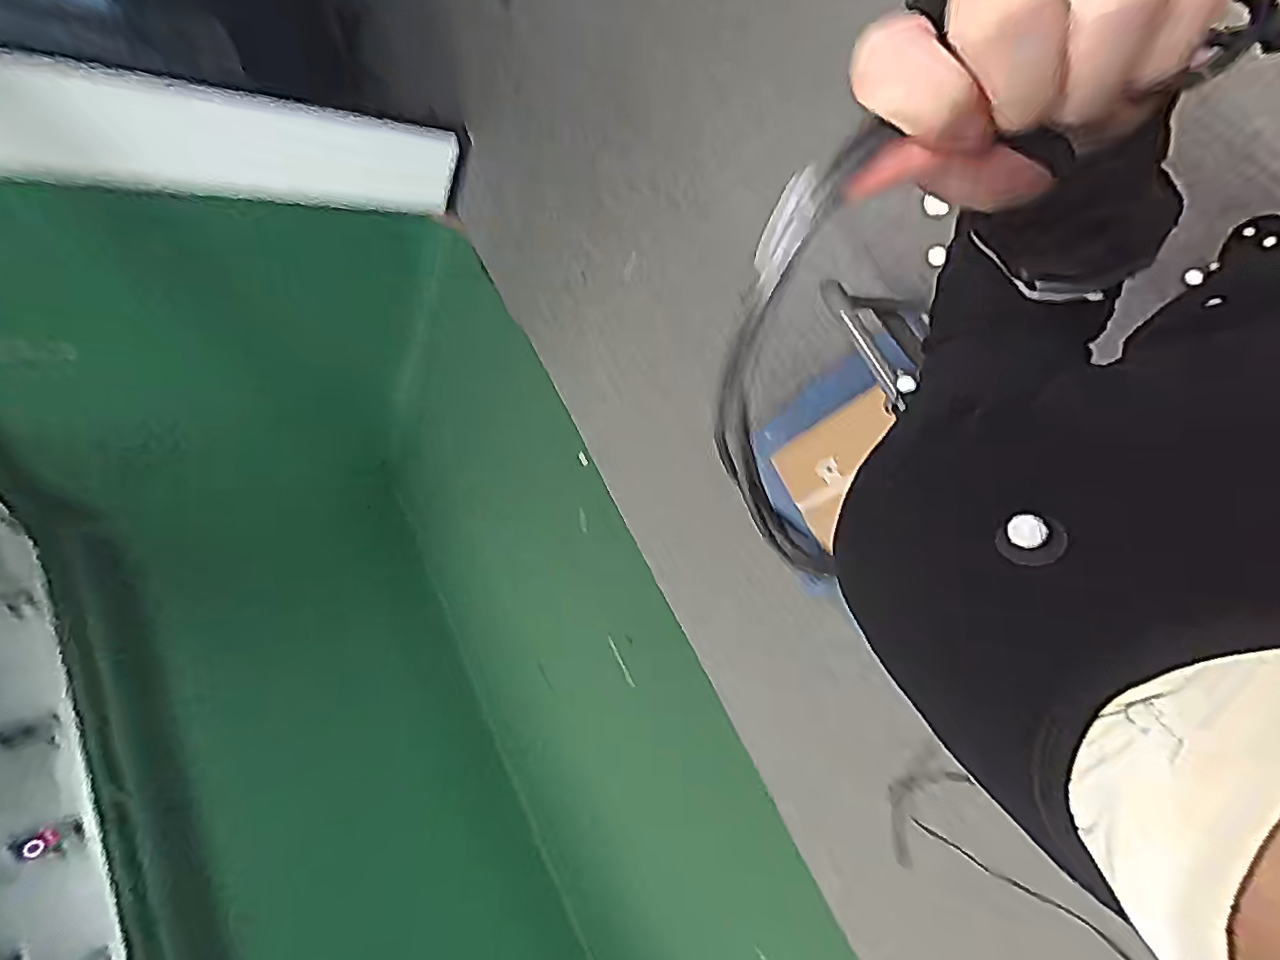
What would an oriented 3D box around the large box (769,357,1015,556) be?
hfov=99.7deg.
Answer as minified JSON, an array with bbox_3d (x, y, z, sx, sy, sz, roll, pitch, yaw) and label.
[{"bbox_3d":[0.618,-0.057,1.358,0.408,0.320,0.320,-39,73,48],"label":"large box"}]
